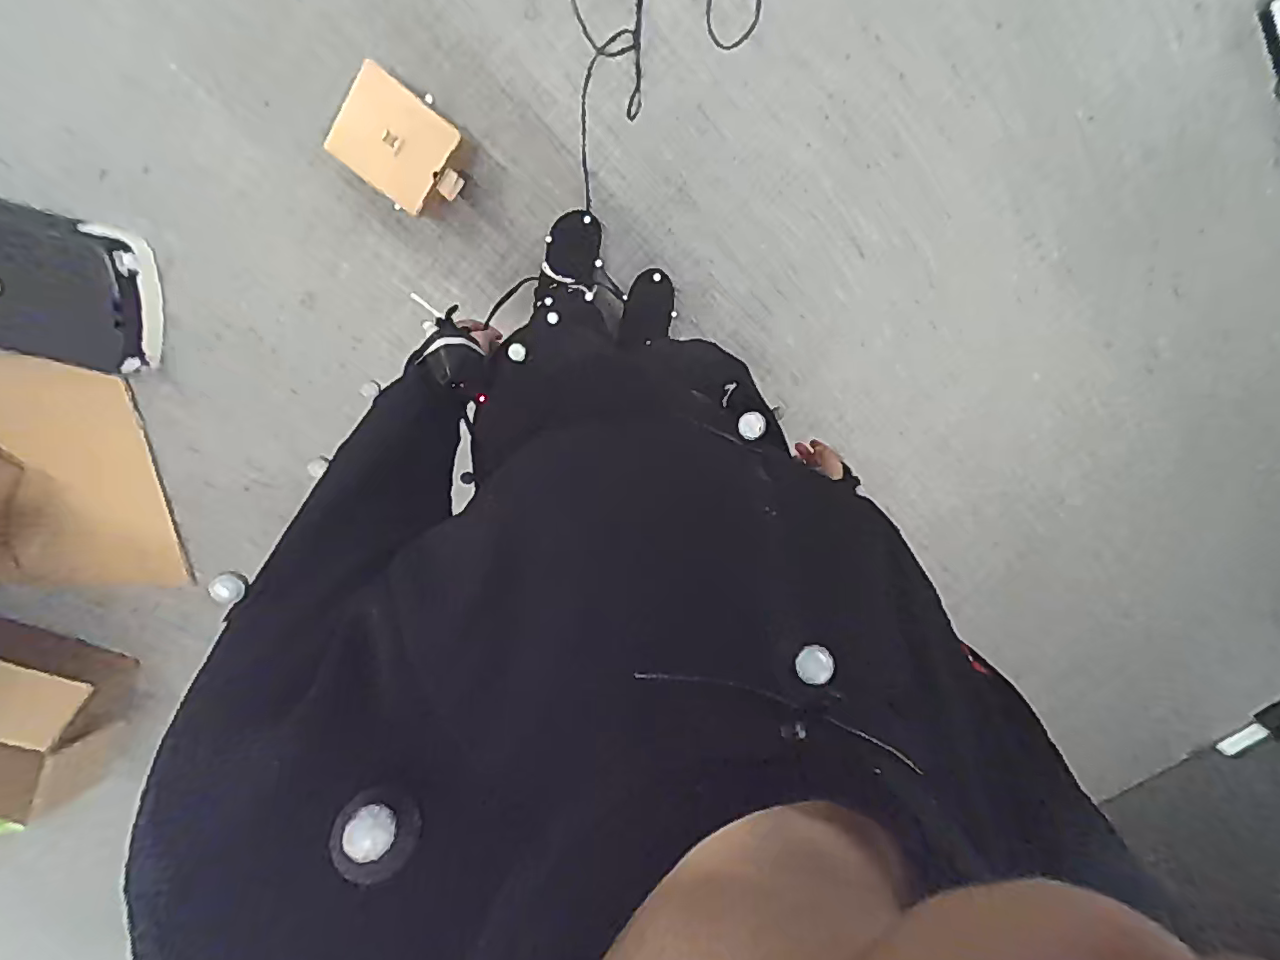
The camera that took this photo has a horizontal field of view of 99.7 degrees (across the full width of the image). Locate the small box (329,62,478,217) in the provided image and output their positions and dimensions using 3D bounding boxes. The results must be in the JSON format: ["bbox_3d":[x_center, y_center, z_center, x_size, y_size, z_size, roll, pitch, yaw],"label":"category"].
[{"bbox_3d":[-0.426,-0.613,1.003,0.179,0.176,0.168,34,107,-21],"label":"small box"}]
